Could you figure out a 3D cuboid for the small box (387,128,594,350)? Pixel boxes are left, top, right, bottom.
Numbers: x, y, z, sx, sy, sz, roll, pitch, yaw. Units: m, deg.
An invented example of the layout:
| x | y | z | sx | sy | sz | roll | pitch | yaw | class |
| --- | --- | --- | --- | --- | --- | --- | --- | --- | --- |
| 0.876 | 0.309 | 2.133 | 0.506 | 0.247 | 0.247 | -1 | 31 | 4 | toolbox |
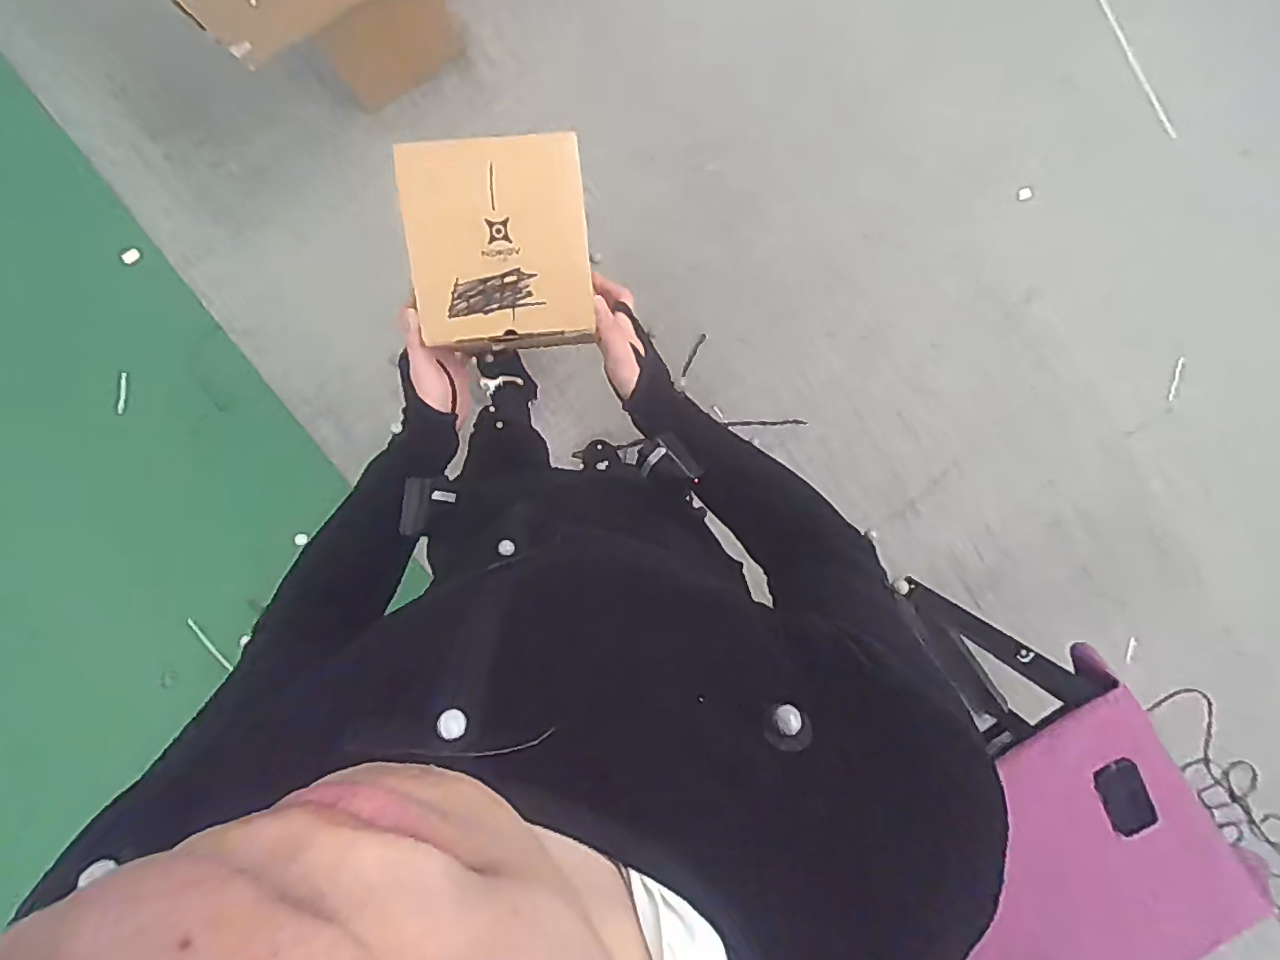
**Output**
| x | y | z | sx | sy | sz | roll | pitch | yaw | class |
| --- | --- | --- | --- | --- | --- | --- | --- | --- | --- |
| -0.137 | -0.231 | 0.564 | 0.168 | 0.176 | 0.179 | -5 | 100 | -3 | small box |
